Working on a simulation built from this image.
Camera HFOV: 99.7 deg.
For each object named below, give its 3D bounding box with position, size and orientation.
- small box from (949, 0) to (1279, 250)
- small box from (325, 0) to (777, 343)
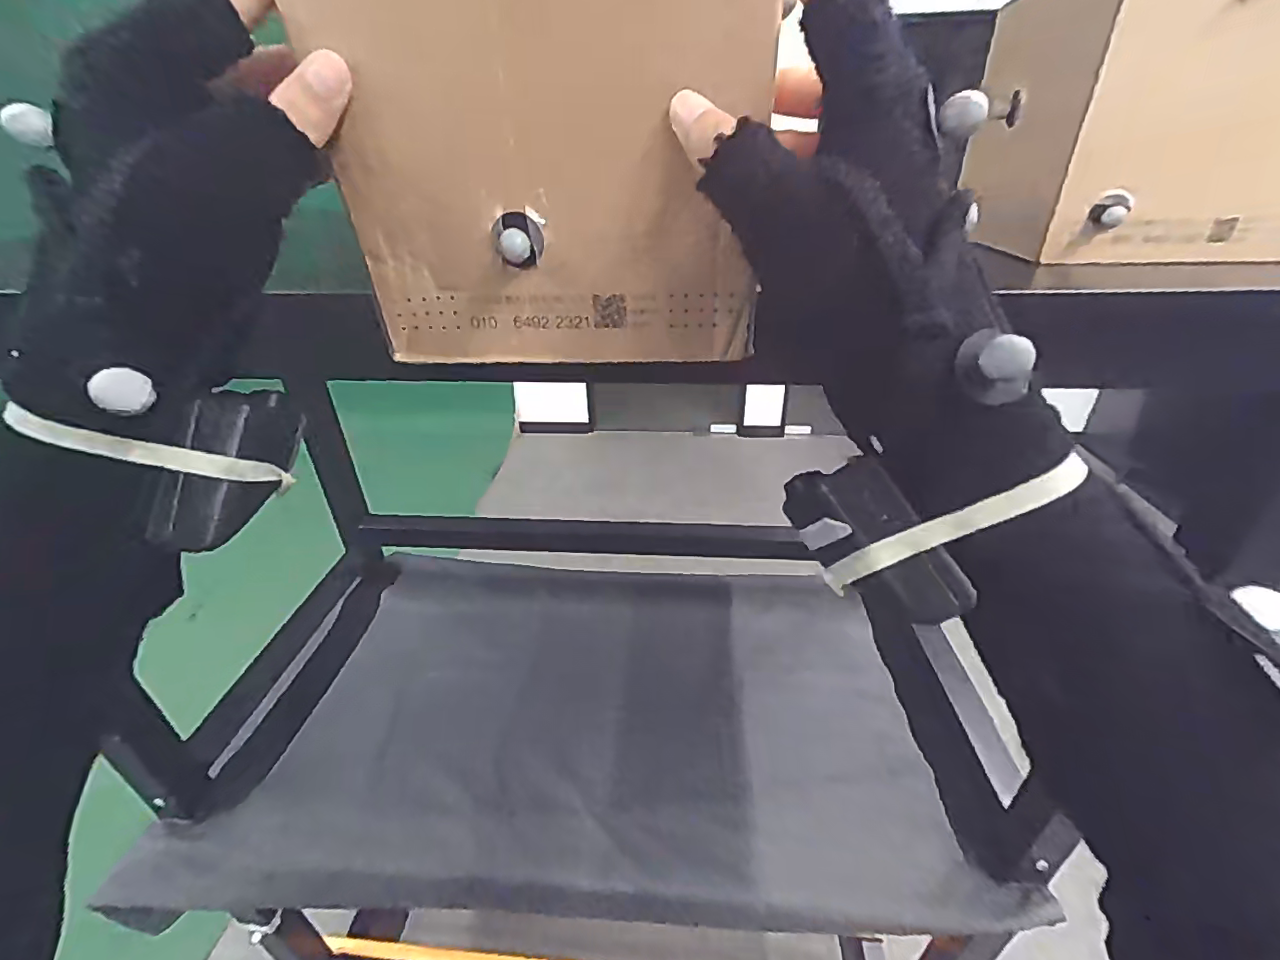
[{"bbox_3d":[0.355,-0.265,0.391,0.168,0.176,0.179,3,30,7],"label":"small box"},{"bbox_3d":[-0.030,-0.182,0.273,0.168,0.176,0.179,0,38,3],"label":"small box"}]
